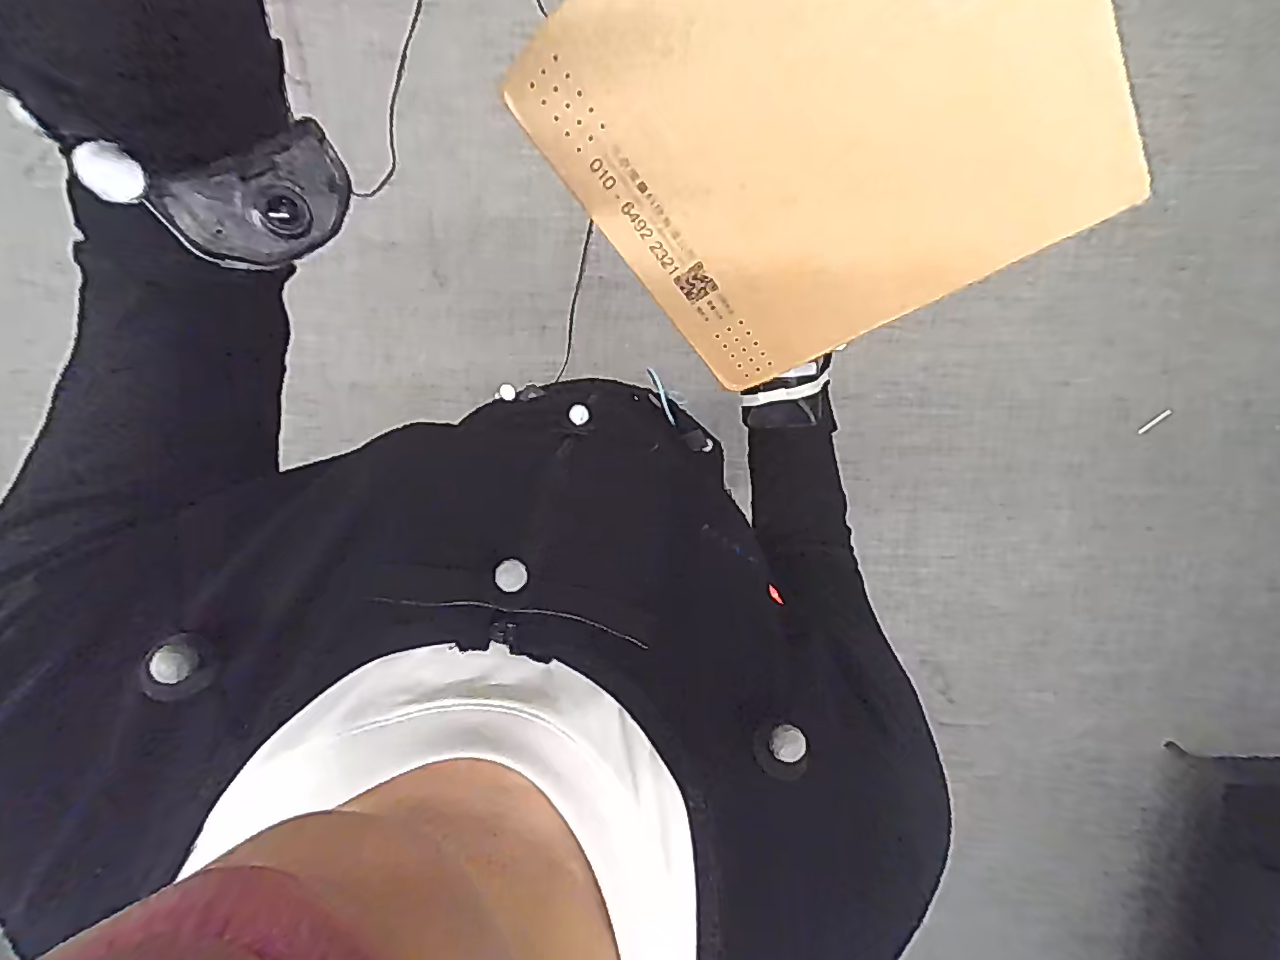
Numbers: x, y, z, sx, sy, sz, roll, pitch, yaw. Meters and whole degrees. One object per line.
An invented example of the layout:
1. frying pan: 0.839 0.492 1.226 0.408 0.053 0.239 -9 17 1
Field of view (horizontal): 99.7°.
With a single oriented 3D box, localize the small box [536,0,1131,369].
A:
1. small box: 0.079 -0.188 0.256 0.176 0.179 0.168 -23 124 35
